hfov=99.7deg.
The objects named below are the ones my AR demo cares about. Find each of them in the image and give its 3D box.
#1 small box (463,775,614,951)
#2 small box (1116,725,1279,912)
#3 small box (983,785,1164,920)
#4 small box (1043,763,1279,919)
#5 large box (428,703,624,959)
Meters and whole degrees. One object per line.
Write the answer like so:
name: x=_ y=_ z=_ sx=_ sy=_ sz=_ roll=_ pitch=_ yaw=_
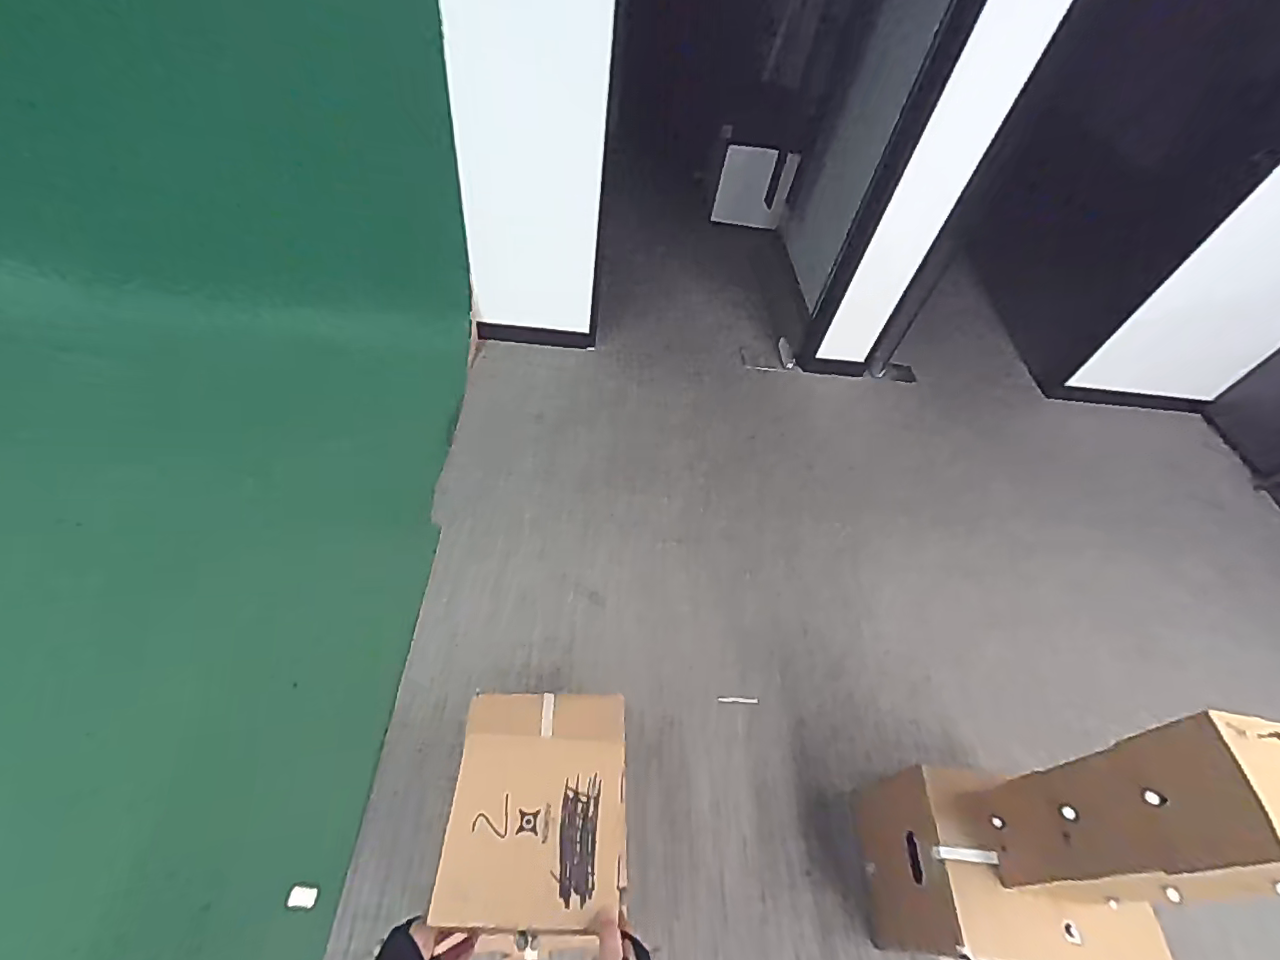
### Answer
small box: x=-0.128 y=0.515 z=0.728 sx=0.168 sy=0.176 sz=0.179 roll=6 pitch=49 yaw=-6
small box: x=0.818 y=0.462 z=0.733 sx=0.168 sy=0.176 sz=0.179 roll=12 pitch=48 yaw=-1
small box: x=0.771 y=0.676 z=0.977 sx=0.179 sy=0.176 sz=0.168 roll=12 pitch=47 yaw=-1
small box: x=0.797 y=0.572 z=0.852 sx=0.179 sy=0.176 sz=0.168 roll=12 pitch=47 yaw=1
large box: x=-0.206 y=0.706 z=1.091 sx=0.320 sy=0.320 sz=0.408 roll=4 pitch=49 yaw=-7
